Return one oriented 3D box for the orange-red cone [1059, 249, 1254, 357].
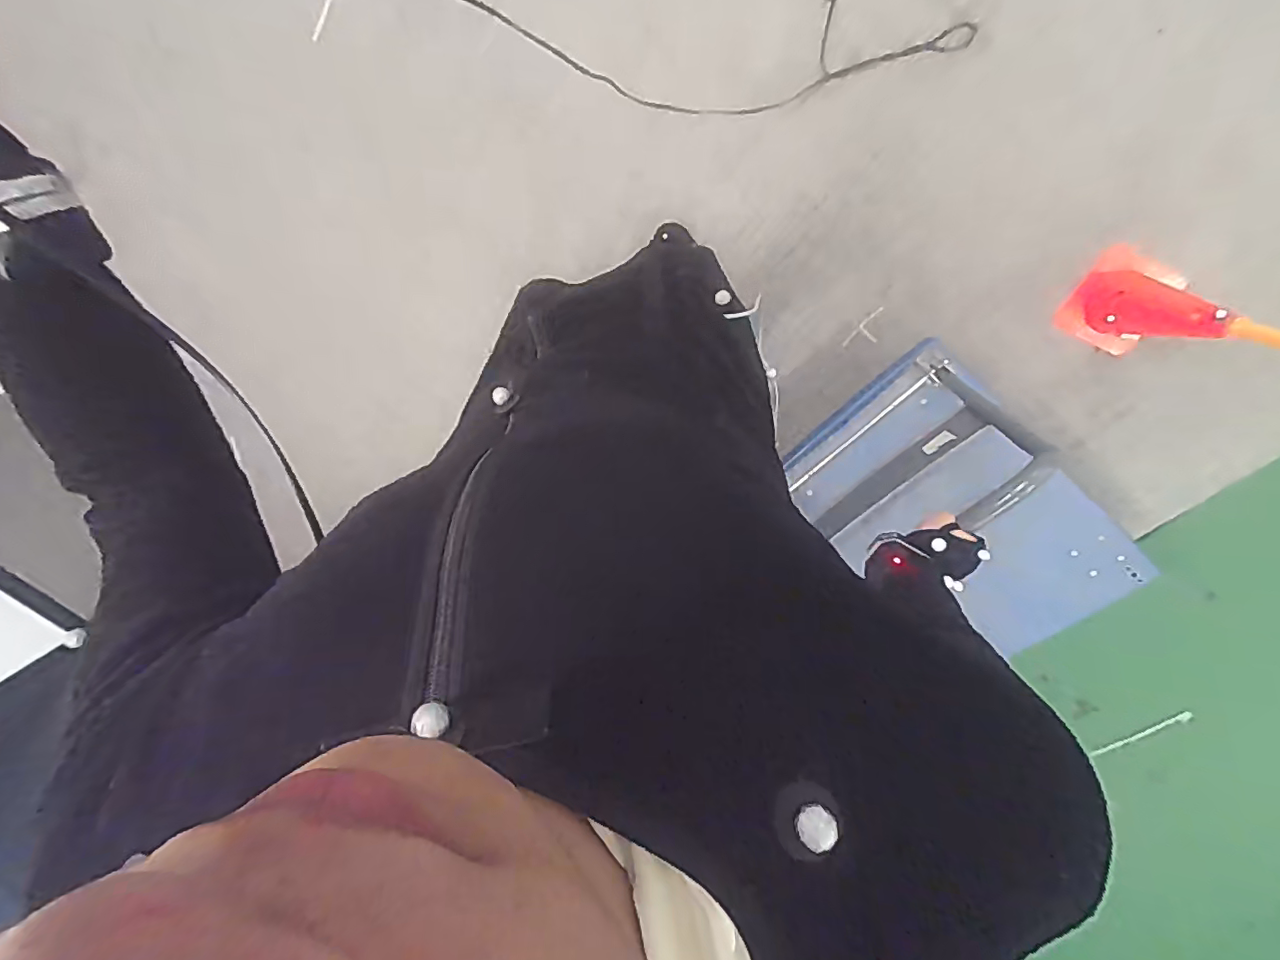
[{"bbox_3d":[1.102,-0.342,1.120,0.198,0.360,0.199,27,116,-3],"label":"orange-red cone"}]
